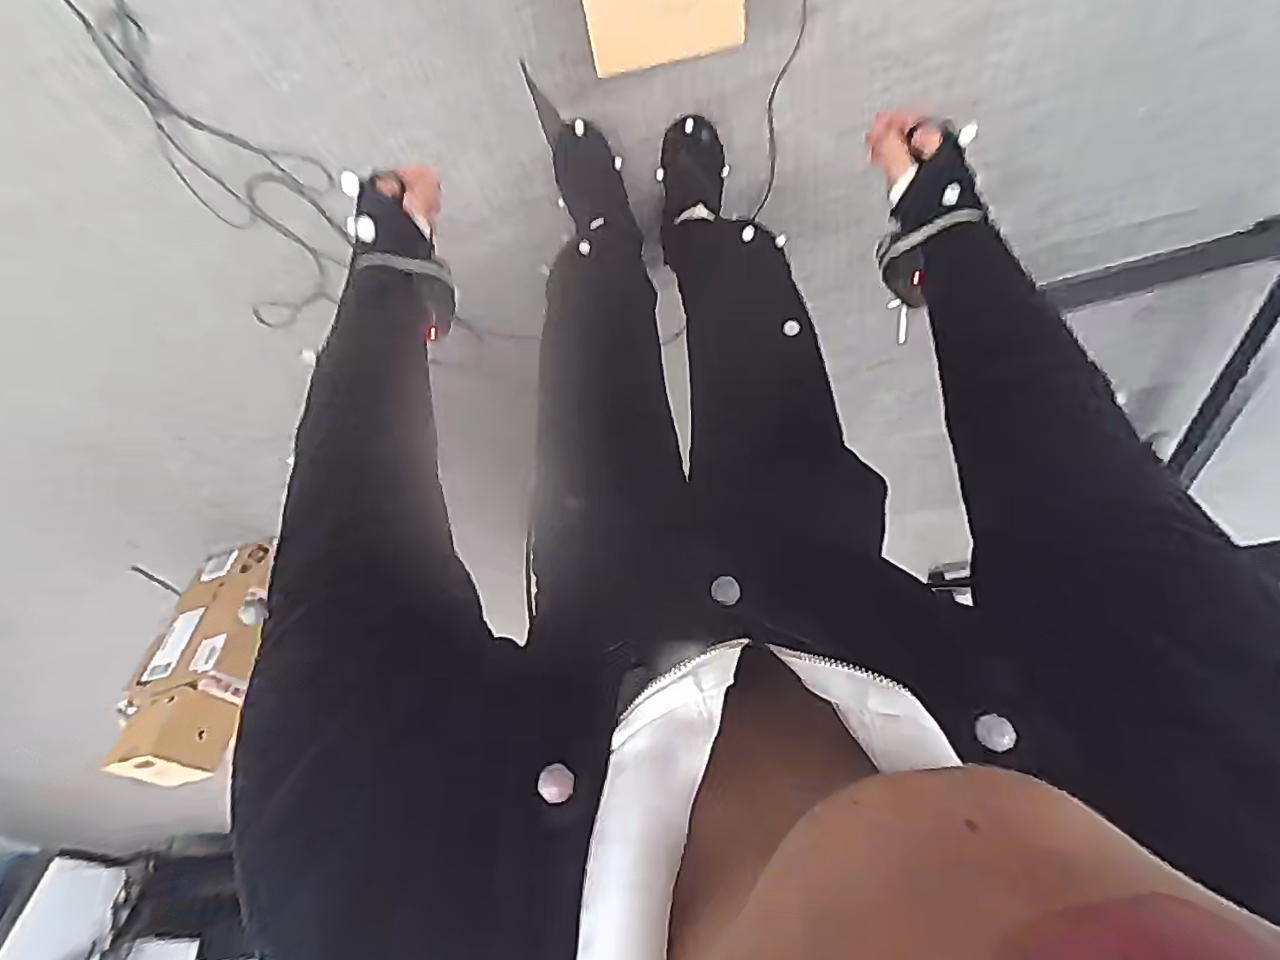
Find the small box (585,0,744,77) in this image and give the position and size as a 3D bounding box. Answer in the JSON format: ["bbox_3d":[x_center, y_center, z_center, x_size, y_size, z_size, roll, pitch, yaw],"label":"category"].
[{"bbox_3d":[0.017,-0.580,0.592,0.168,0.176,0.179,-8,138,8],"label":"small box"}]

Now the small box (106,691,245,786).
[{"bbox_3d":[-1.182,0.660,1.392,0.168,0.176,0.179,-19,133,13],"label":"small box"}]
